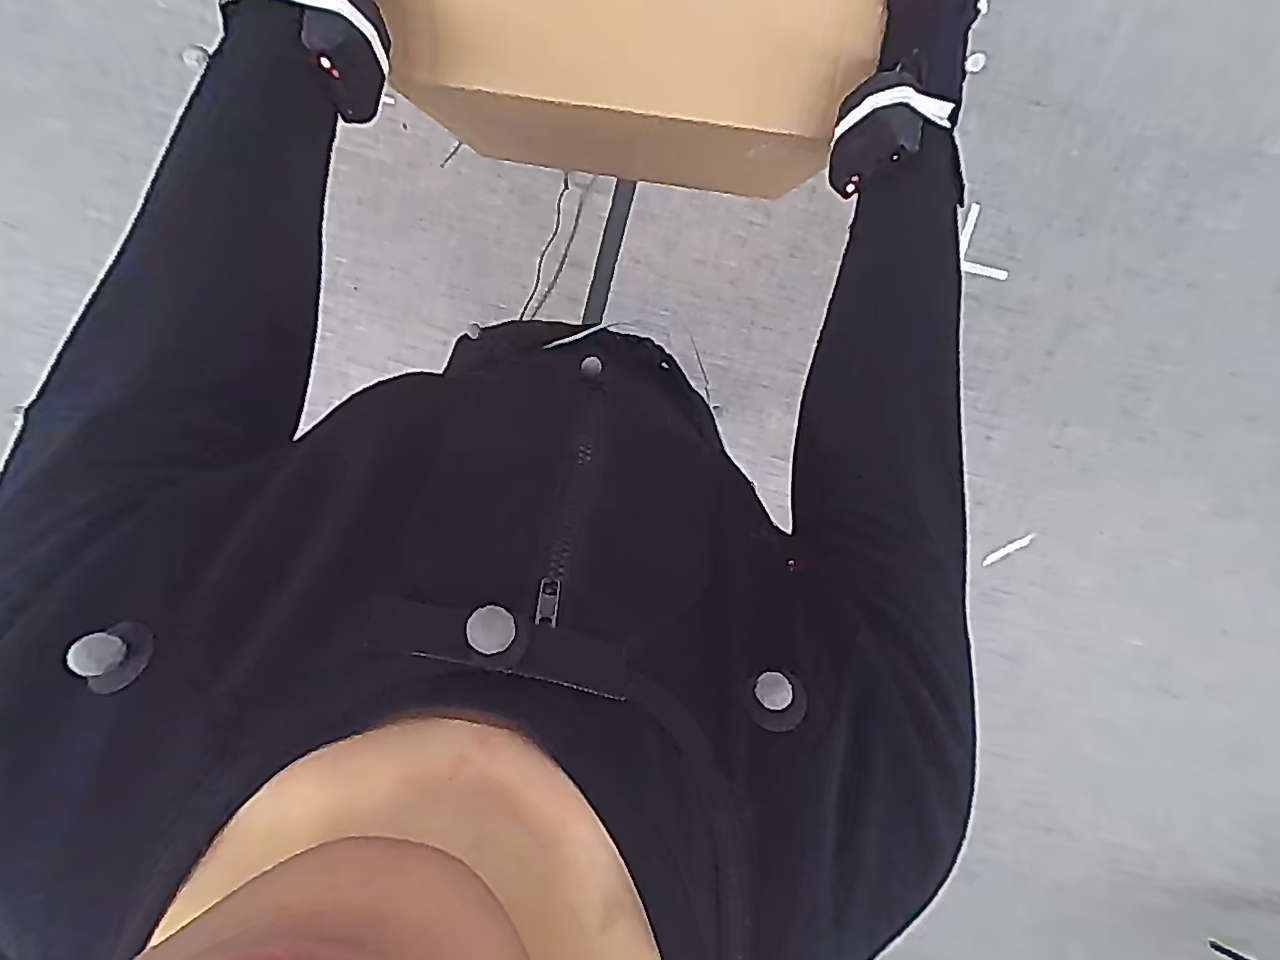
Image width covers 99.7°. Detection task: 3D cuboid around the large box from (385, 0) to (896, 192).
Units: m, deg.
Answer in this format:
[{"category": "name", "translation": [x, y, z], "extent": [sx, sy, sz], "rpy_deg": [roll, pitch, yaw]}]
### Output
[{"category": "large box", "translation": [0.010, -0.501, 0.532], "extent": [0.408, 0.320, 0.320], "rpy_deg": [7, 111, -2]}]
